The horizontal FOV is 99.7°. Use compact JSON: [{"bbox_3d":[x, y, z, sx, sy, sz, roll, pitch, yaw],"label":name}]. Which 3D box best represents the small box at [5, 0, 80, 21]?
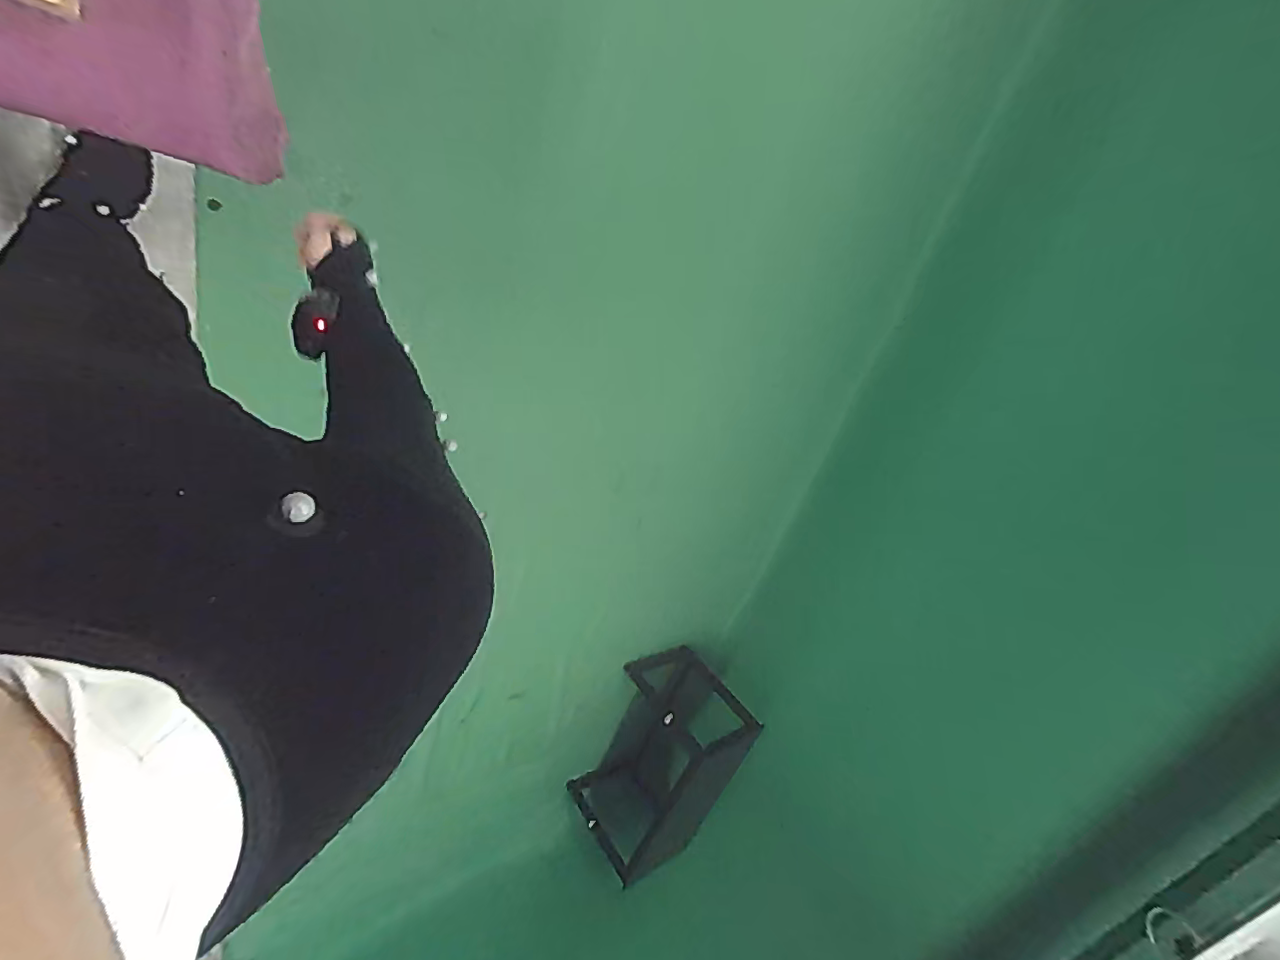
[{"bbox_3d":[-0.498,-0.455,0.361,0.168,0.176,0.179,0,118,-43],"label":"small box"}]
